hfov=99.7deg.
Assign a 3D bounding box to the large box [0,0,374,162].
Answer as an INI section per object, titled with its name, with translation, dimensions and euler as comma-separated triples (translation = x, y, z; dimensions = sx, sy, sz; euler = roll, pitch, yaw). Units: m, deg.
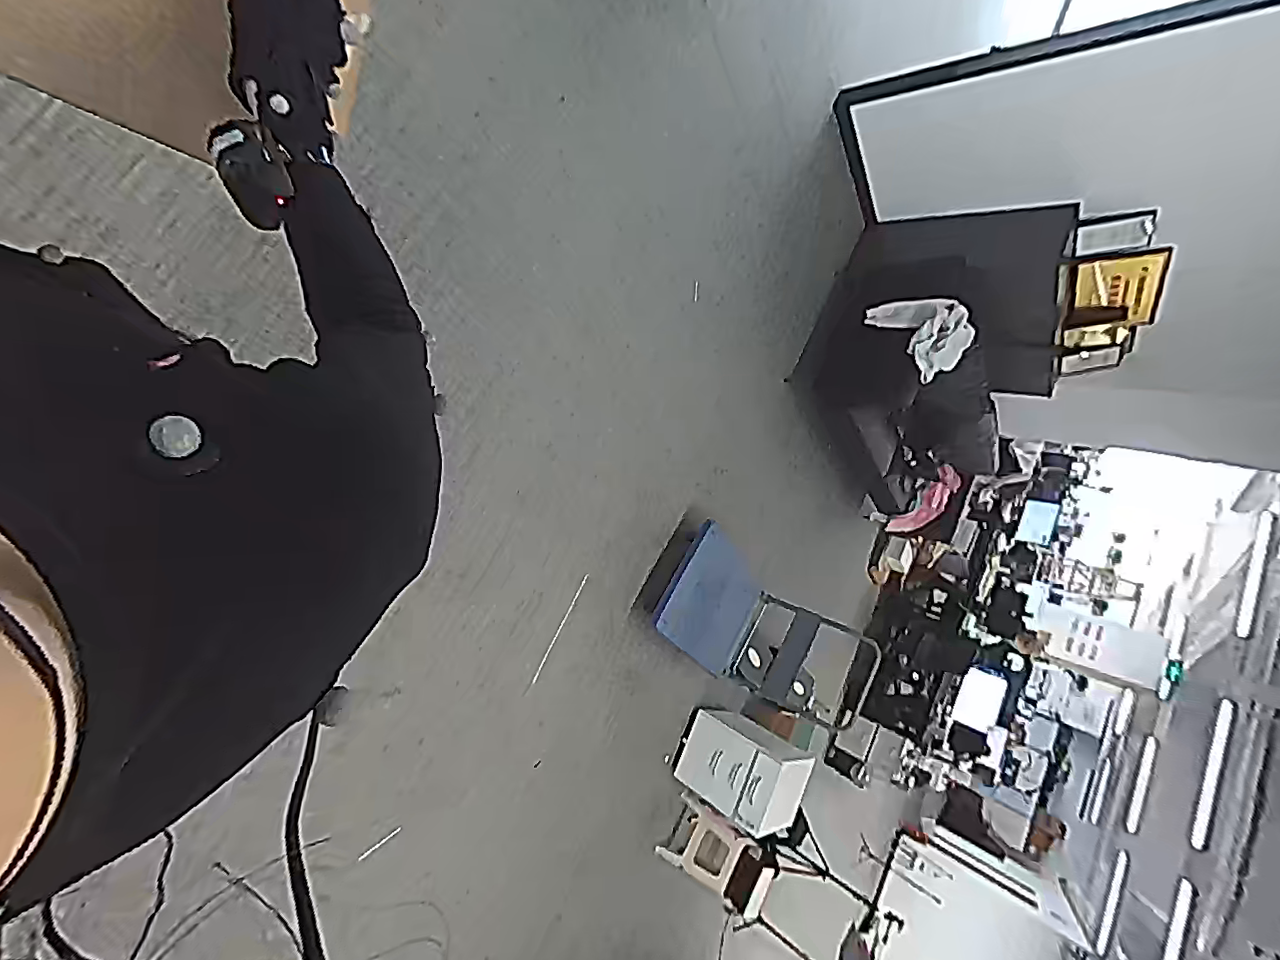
[large box]
translation = -0.478, -0.554, 0.477
dimensions = 0.408, 0.320, 0.320
euler = 20, 120, -23
